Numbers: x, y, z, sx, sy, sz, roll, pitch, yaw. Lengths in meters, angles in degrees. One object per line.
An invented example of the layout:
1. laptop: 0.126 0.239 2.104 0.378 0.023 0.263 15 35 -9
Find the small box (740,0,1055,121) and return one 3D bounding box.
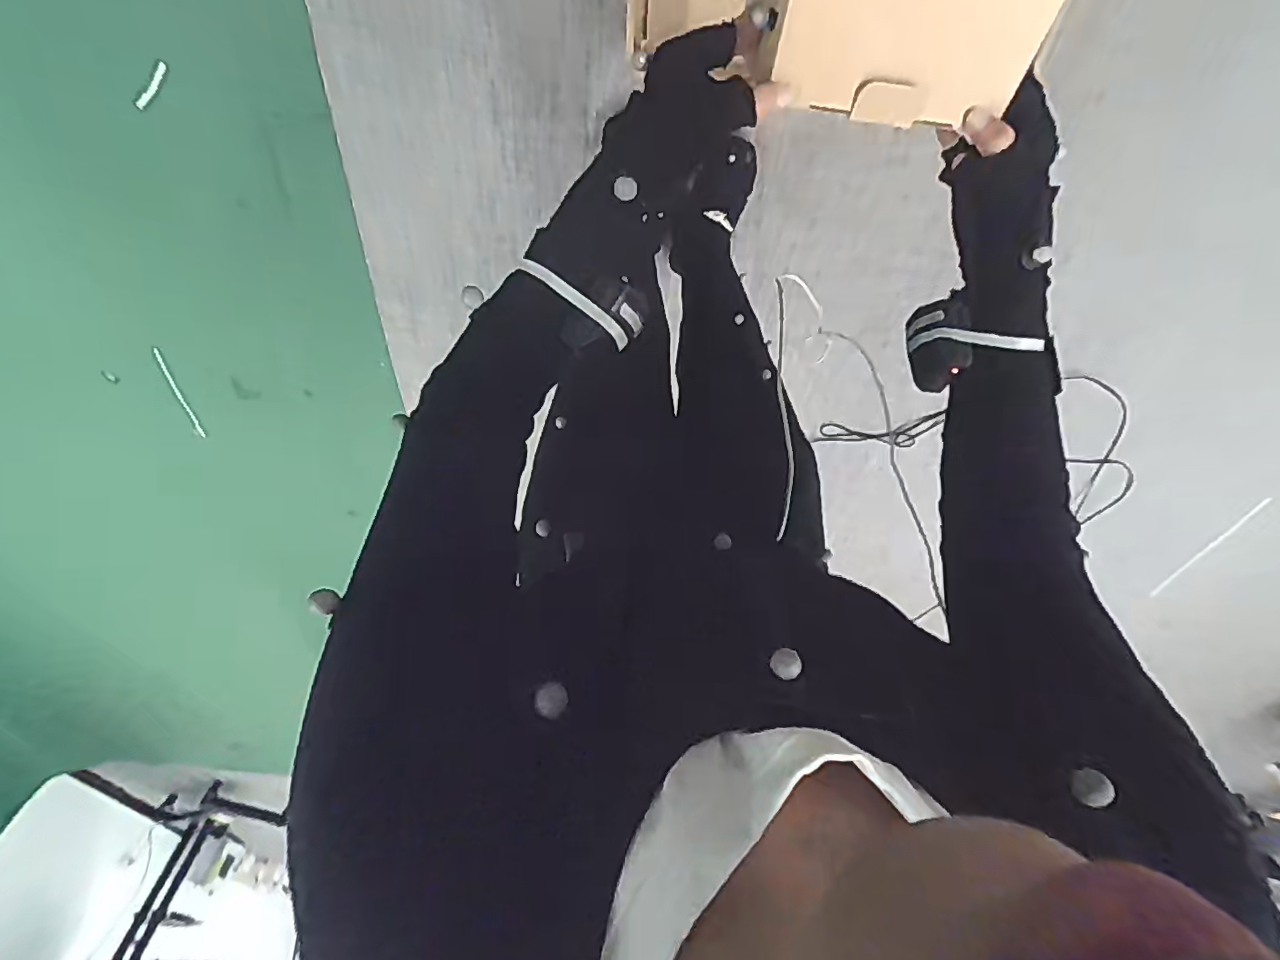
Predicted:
1. small box: 0.169 -0.368 0.354 0.168 0.176 0.179 4 139 -4
